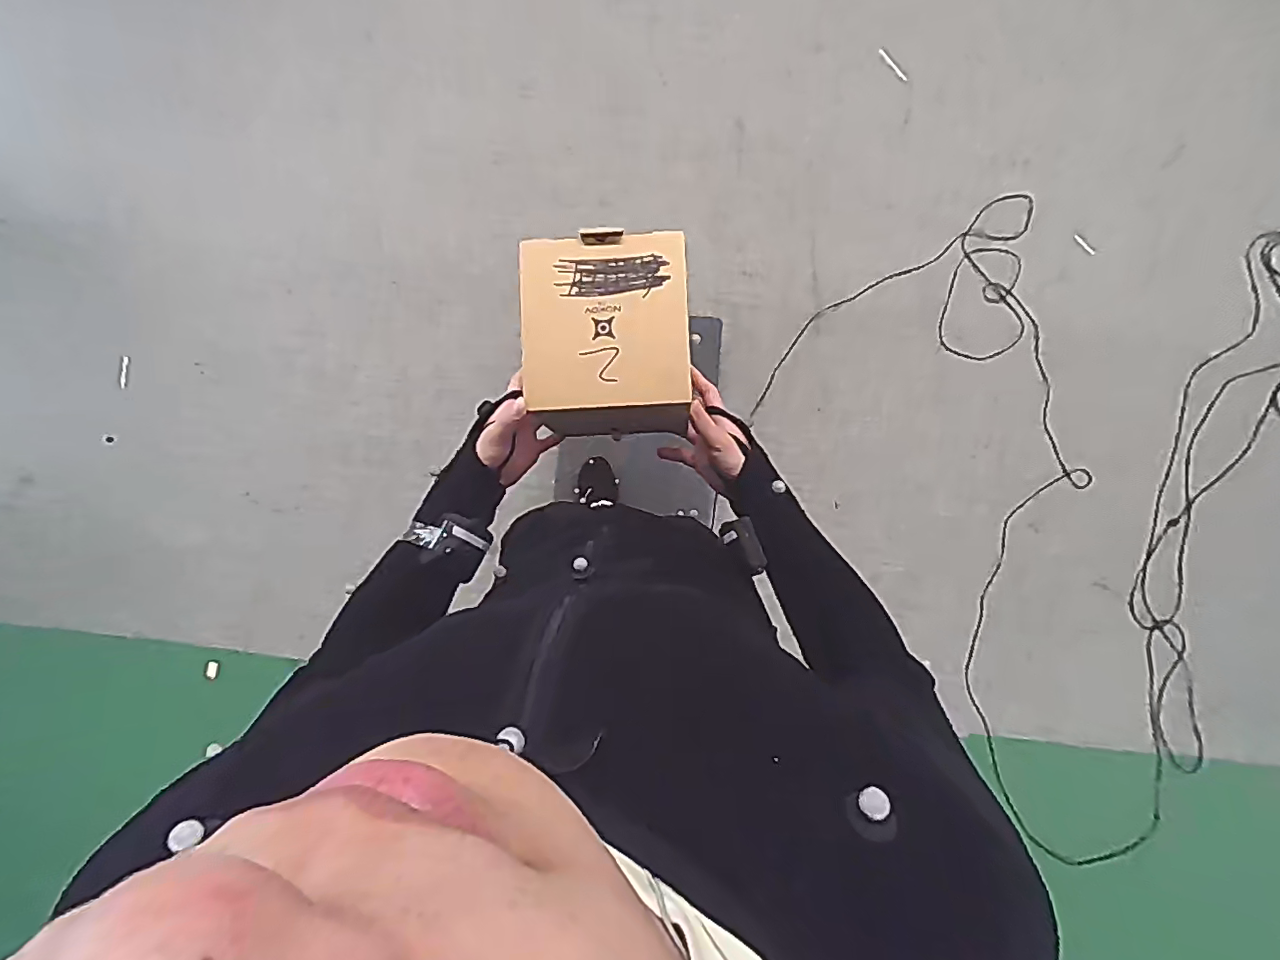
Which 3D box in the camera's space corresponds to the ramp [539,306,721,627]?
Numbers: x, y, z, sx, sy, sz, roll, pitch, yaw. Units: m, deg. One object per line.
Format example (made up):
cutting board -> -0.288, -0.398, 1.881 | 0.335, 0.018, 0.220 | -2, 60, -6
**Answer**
ramp -> -0.017, -0.071, 1.698 | 0.509, 0.206, 0.991 | 4, 89, 1
